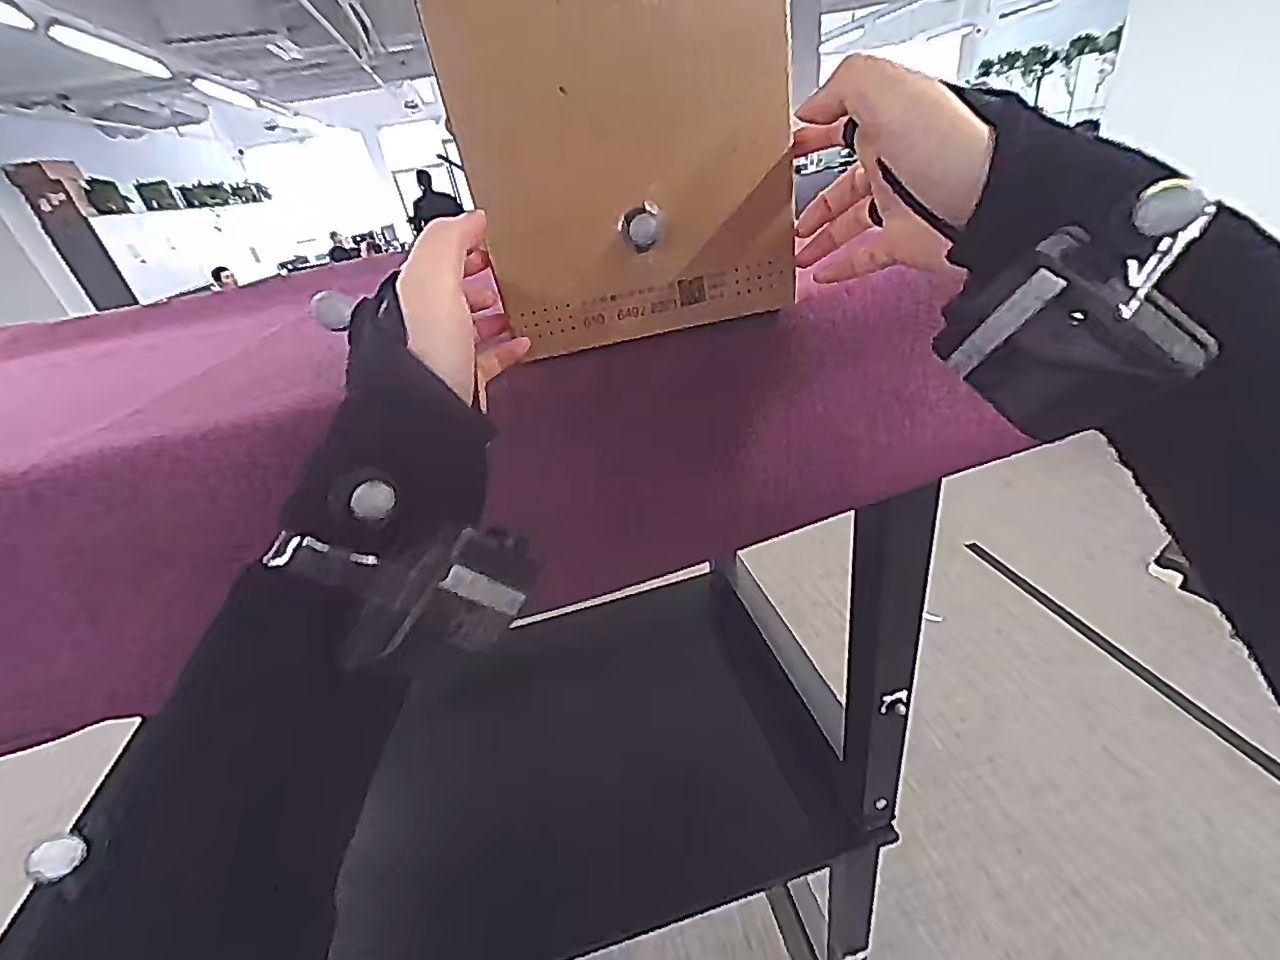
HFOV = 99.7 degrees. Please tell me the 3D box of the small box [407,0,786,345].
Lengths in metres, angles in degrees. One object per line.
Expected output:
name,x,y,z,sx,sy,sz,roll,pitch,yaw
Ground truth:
small box,-0.018,-0.194,0.335,0.168,0.176,0.179,-13,29,-2
